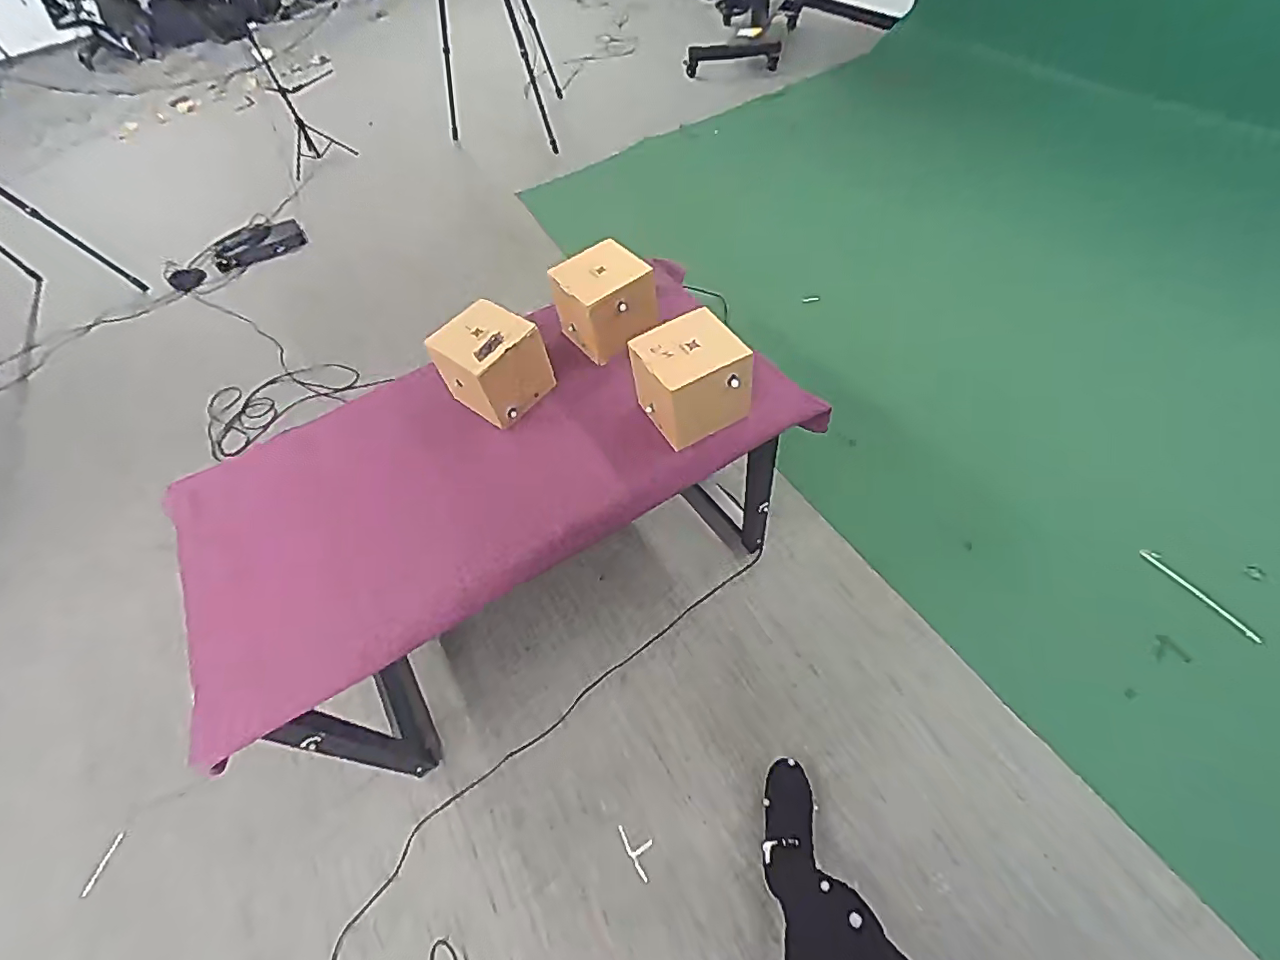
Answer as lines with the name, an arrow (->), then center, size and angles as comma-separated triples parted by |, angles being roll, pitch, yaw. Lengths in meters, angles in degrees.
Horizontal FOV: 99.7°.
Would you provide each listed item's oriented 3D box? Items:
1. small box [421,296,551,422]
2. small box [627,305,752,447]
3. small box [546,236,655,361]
small box -> -0.314, -0.247, 1.138 | 0.179, 0.176, 0.168 | 32, 66, 26
small box -> 0.096, -0.197, 1.042 | 0.179, 0.176, 0.168 | -27, 55, -9
small box -> -0.080, -0.403, 1.210 | 0.179, 0.176, 0.168 | -36, 59, -14
